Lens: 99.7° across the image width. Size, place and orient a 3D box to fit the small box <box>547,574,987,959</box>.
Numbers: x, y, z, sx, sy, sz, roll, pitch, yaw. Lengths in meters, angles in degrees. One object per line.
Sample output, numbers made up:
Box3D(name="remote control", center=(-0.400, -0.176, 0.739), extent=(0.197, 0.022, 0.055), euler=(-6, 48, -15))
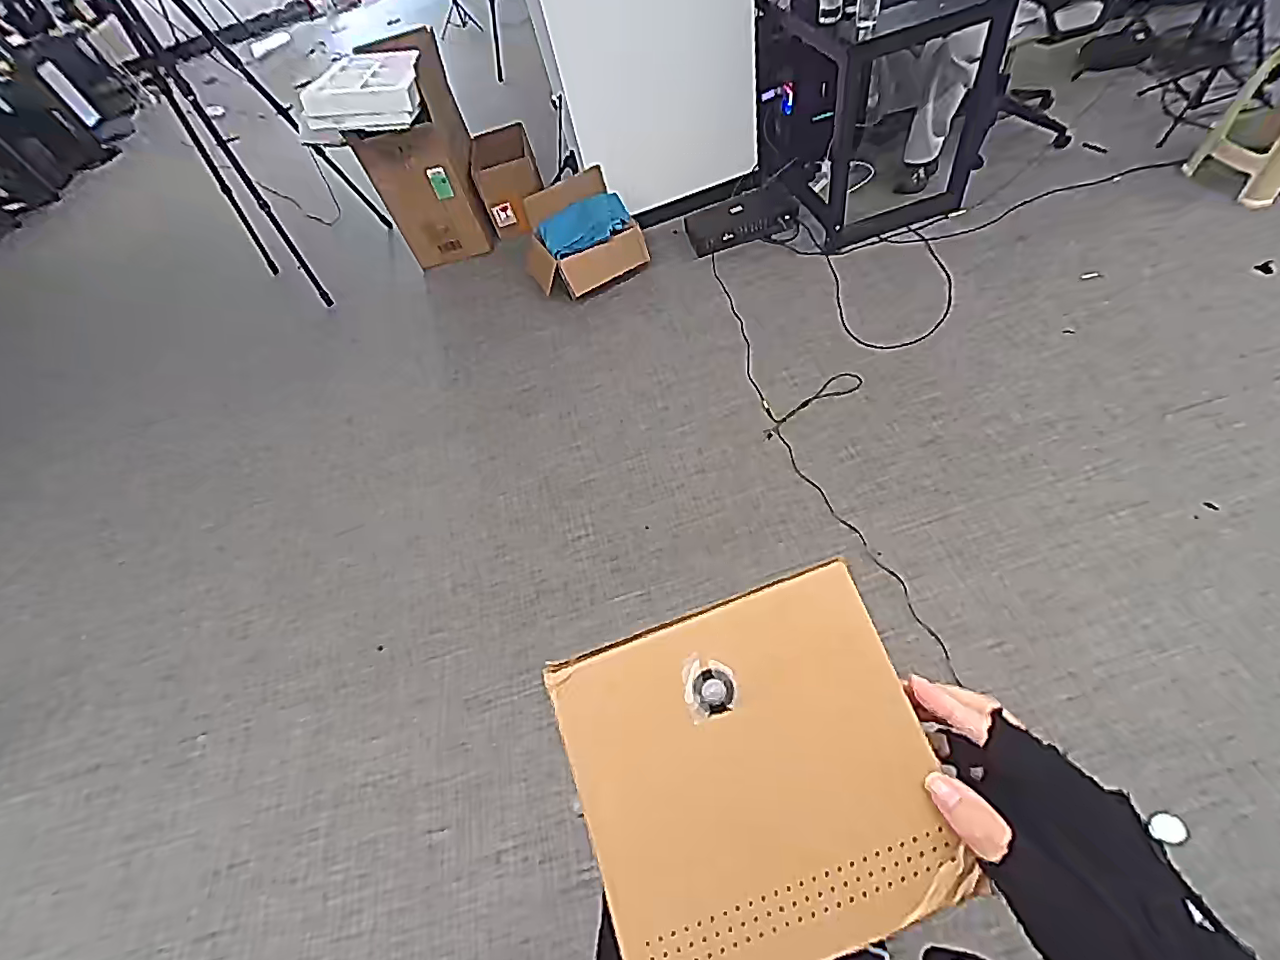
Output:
Box3D(name="small box", center=(0.065, 0.177, 0.343), extent=(0.179, 0.168, 0.176), euler=(-20, 73, -1))
